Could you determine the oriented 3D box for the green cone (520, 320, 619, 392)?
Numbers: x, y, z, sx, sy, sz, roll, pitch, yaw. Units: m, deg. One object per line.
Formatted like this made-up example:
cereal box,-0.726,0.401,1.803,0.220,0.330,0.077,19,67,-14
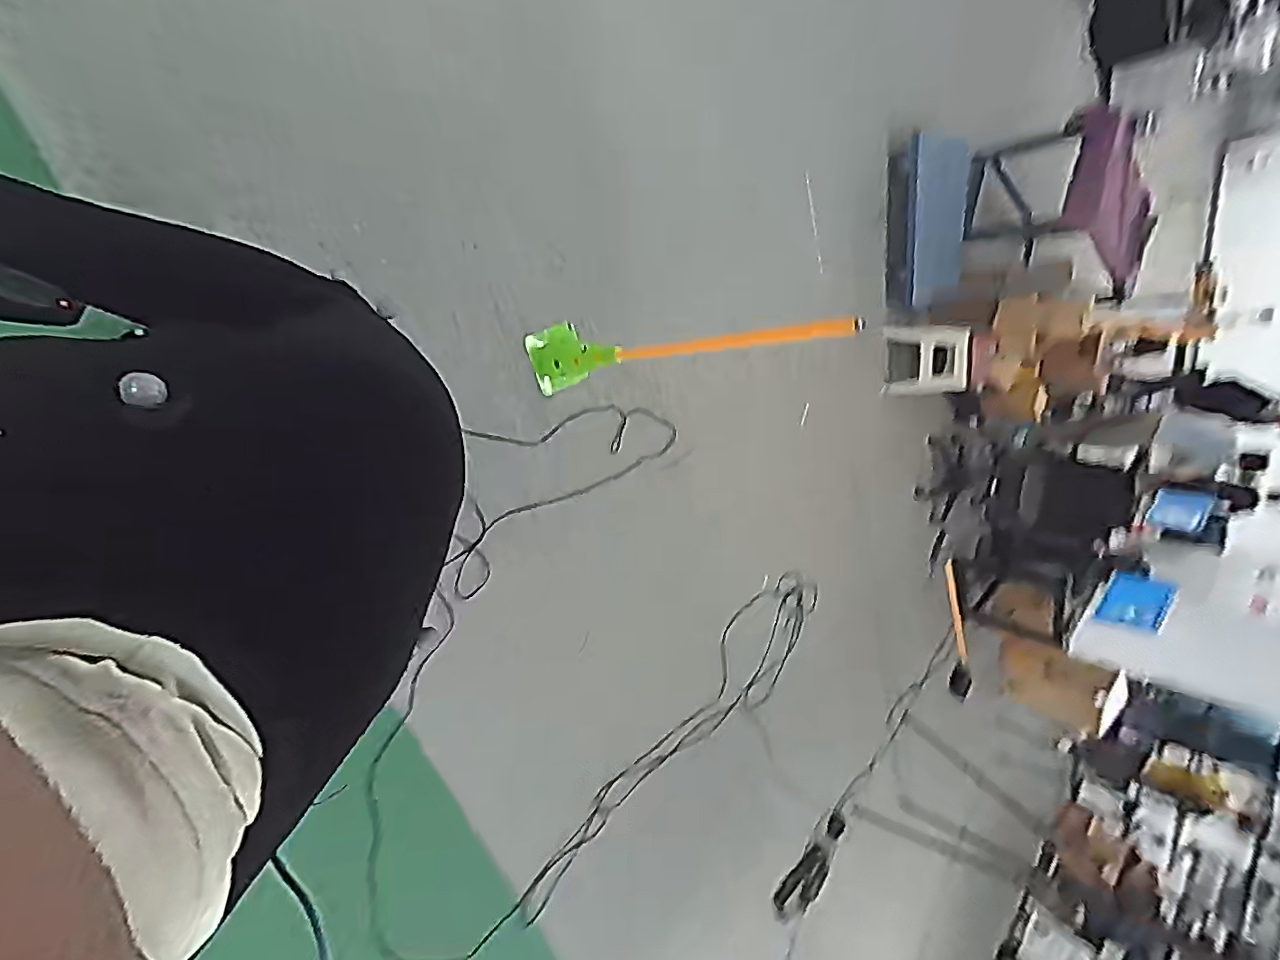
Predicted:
green cone,-0.193,-0.394,1.713,0.200,0.368,0.202,-33,119,-30
